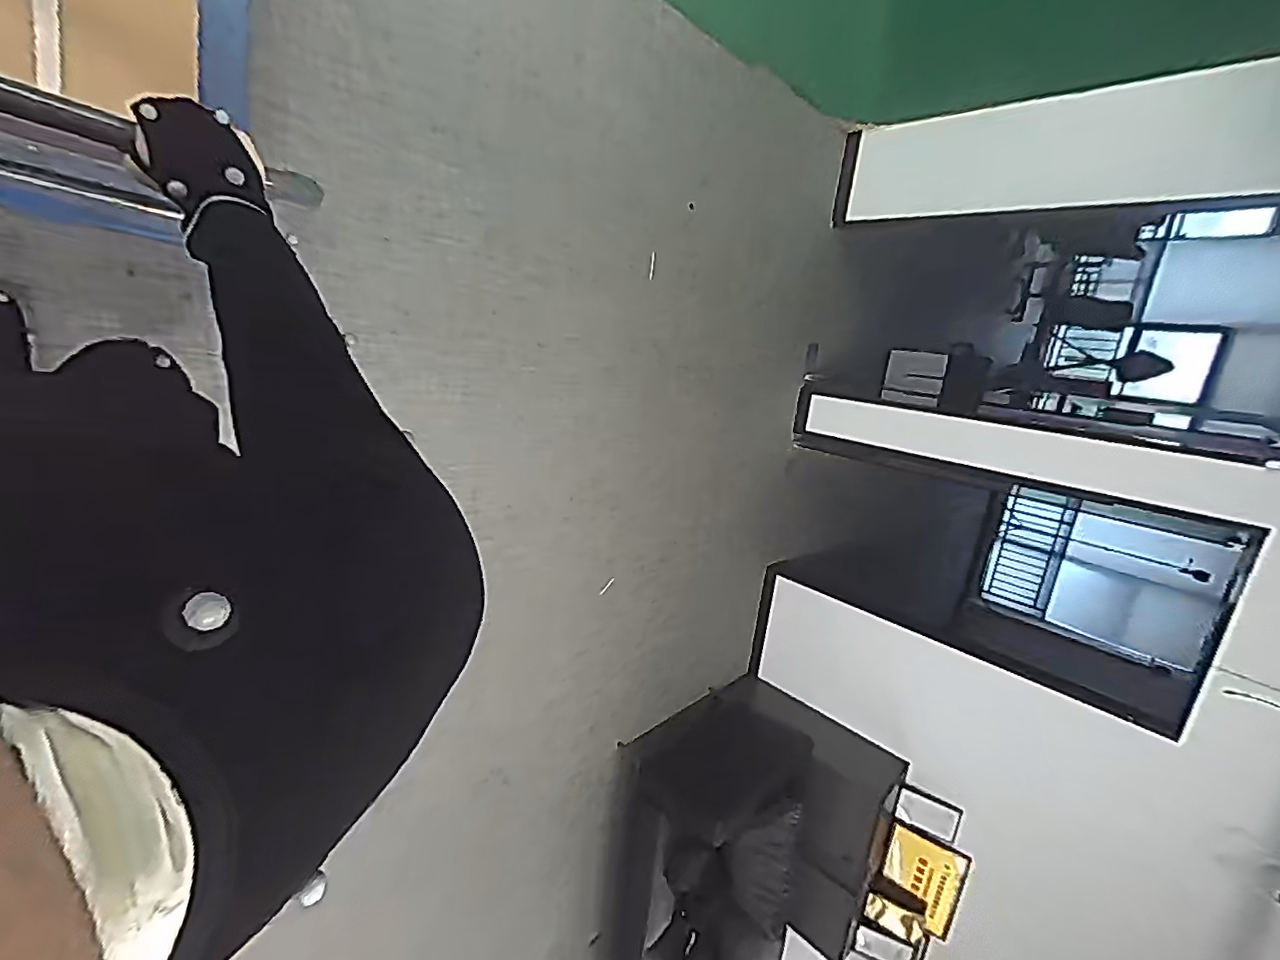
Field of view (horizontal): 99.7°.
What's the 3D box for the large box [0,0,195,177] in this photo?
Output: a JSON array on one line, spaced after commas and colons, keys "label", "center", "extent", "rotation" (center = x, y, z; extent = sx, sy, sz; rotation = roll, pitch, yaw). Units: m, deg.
[{"label": "large box", "center": [-0.869, -0.721, 0.784], "extent": [0.320, 0.320, 0.408], "rotation": [-3, 106, -46]}]
